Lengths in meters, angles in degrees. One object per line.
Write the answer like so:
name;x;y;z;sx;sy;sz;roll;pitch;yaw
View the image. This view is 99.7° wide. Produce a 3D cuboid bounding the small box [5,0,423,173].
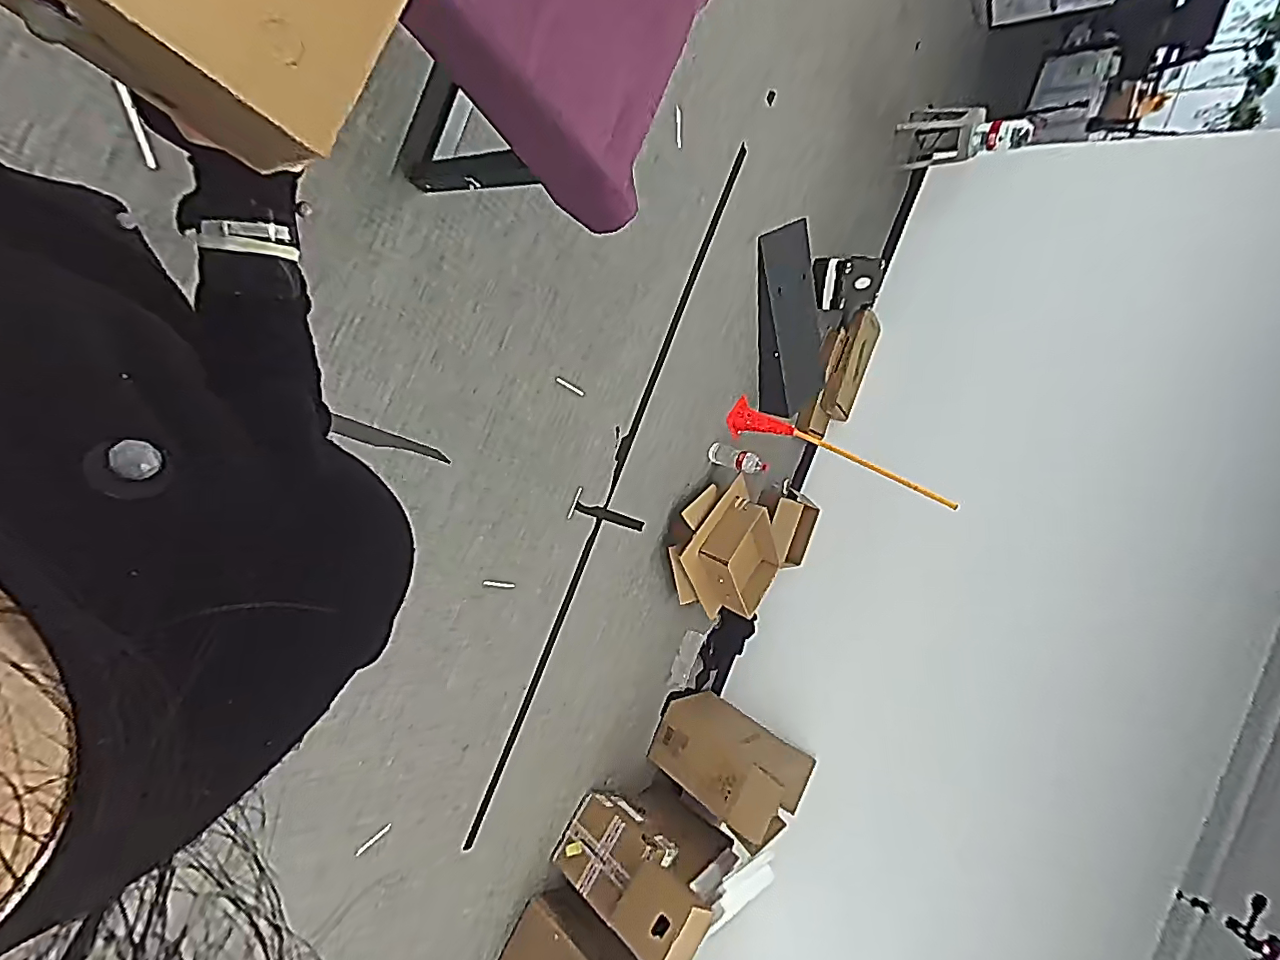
small box;-0.223;-0.292;0.282;0.168;0.176;0.179;27;88;-48
